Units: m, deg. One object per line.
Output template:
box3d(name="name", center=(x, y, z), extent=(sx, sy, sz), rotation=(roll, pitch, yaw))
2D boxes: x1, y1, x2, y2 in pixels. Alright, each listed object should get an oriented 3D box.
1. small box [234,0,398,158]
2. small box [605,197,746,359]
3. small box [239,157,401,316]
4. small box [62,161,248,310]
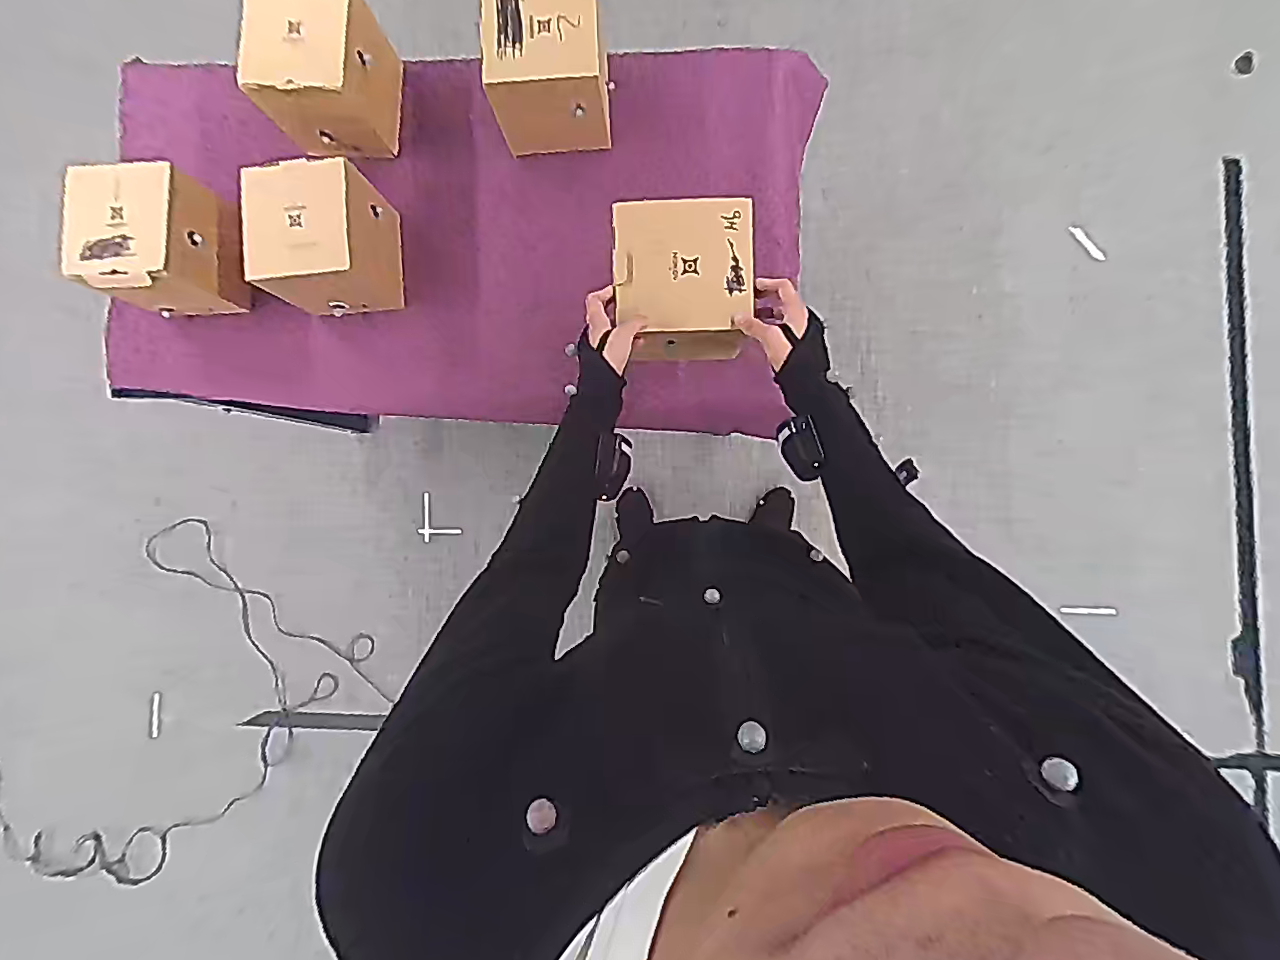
box3d(name="small box", center=(-0.517, -0.669, 0.888), extent=(0.168, 0.176, 0.179), rotation=(3, 89, 2))
box3d(name="small box", center=(0.048, -0.267, 0.750), extent=(0.179, 0.176, 0.168), rotation=(-1, 91, 2))
box3d(name="small box", center=(-0.511, -0.387, 0.883), extent=(0.168, 0.176, 0.179), rotation=(-4, 88, 3))
box3d(name="small box", center=(-0.785, -0.389, 0.893), extent=(0.168, 0.176, 0.179), rotation=(-1, 87, 2))
